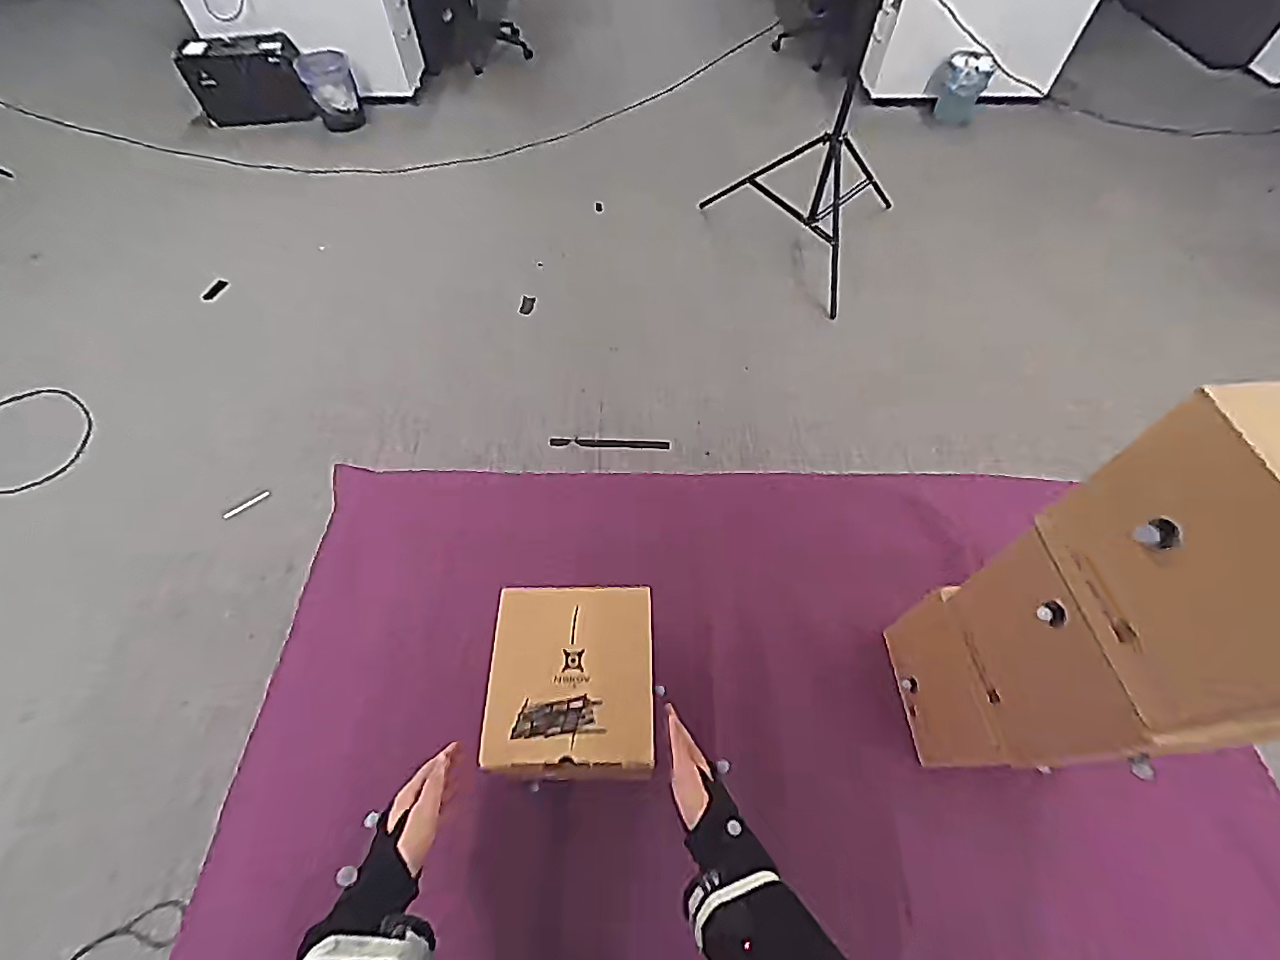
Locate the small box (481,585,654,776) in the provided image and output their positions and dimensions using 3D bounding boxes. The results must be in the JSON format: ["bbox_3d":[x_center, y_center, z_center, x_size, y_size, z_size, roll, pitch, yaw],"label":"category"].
[{"bbox_3d":[-0.067,0.233,0.614,0.168,0.176,0.179,0,56,-1],"label":"small box"}]

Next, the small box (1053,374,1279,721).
[{"bbox_3d":[0.418,0.048,0.347,0.179,0.176,0.168,-4,57,-3],"label":"small box"}]

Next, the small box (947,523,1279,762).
[{"bbox_3d":[0.420,0.144,0.479,0.179,0.176,0.168,-4,56,-3],"label":"small box"}]
